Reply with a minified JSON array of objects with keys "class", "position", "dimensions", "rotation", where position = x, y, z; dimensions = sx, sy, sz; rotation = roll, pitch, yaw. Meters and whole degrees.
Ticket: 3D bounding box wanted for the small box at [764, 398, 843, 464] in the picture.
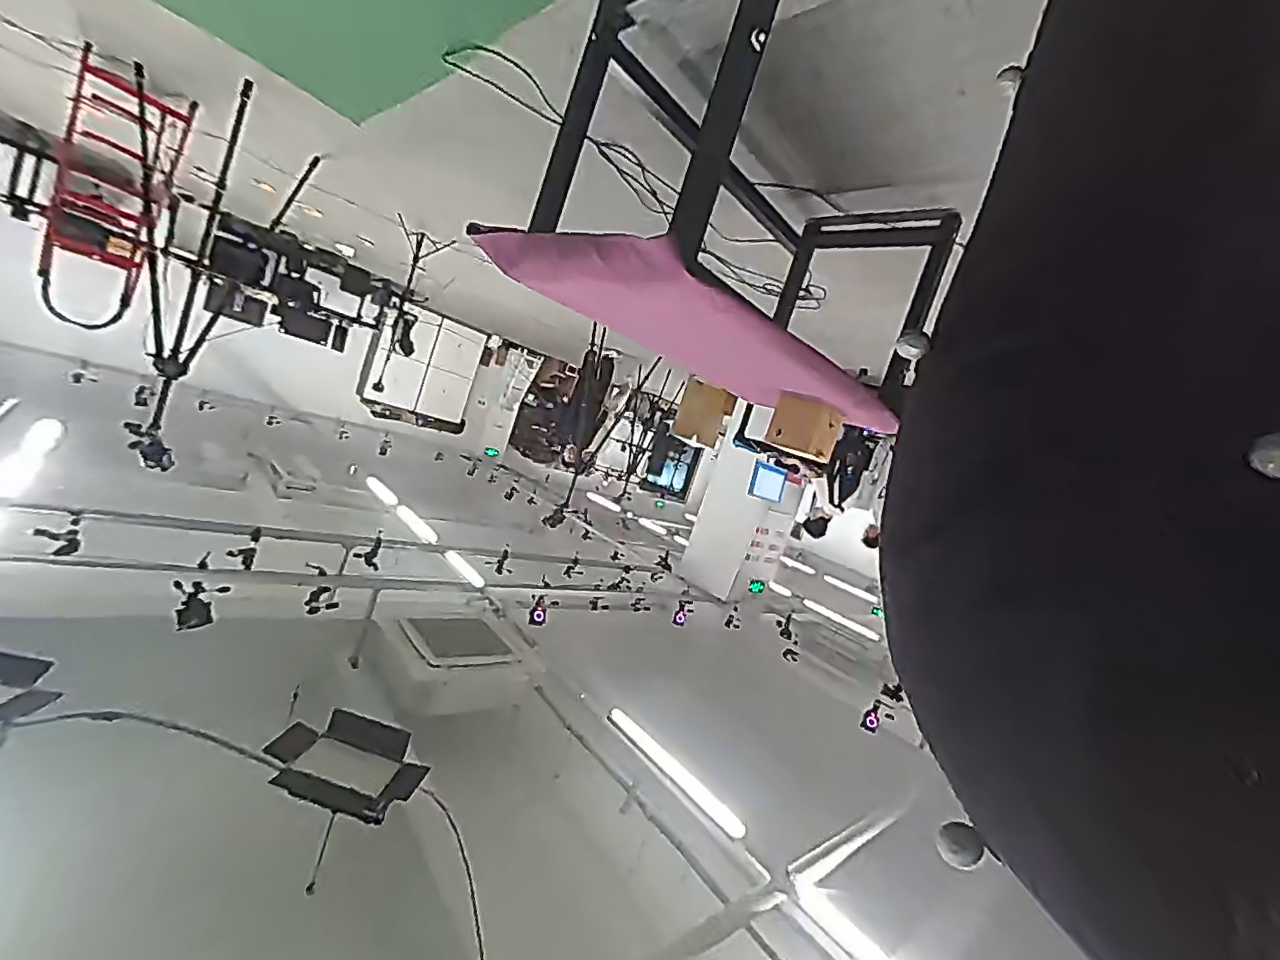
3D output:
[{"class":"small box","position":[0.563,-0.172,1.856],"dimensions":[0.168,0.176,0.179],"rotation":[15,-174,-46]}]
